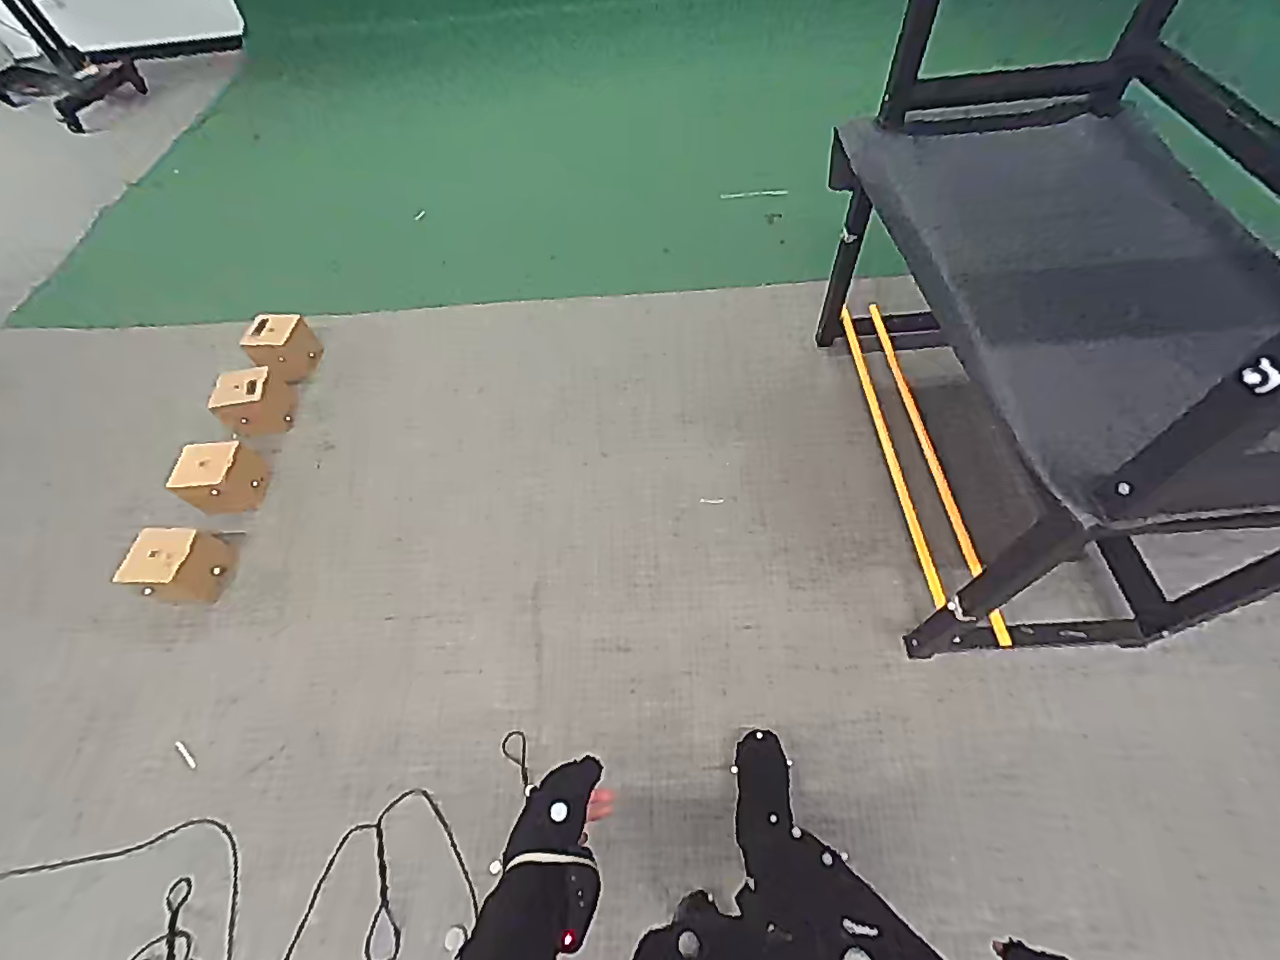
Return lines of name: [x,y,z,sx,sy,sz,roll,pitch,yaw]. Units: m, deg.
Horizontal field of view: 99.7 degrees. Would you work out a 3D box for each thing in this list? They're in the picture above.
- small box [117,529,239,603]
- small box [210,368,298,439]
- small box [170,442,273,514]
small box: [-1.334,0.254,1.575,0.179,0.176,0.168,0,58,5]
small box: [-1.358,-0.267,1.917,0.179,0.176,0.168,-10,56,-1]
small box: [-1.339,-0.002,1.743,0.179,0.176,0.168,-6,57,0]
